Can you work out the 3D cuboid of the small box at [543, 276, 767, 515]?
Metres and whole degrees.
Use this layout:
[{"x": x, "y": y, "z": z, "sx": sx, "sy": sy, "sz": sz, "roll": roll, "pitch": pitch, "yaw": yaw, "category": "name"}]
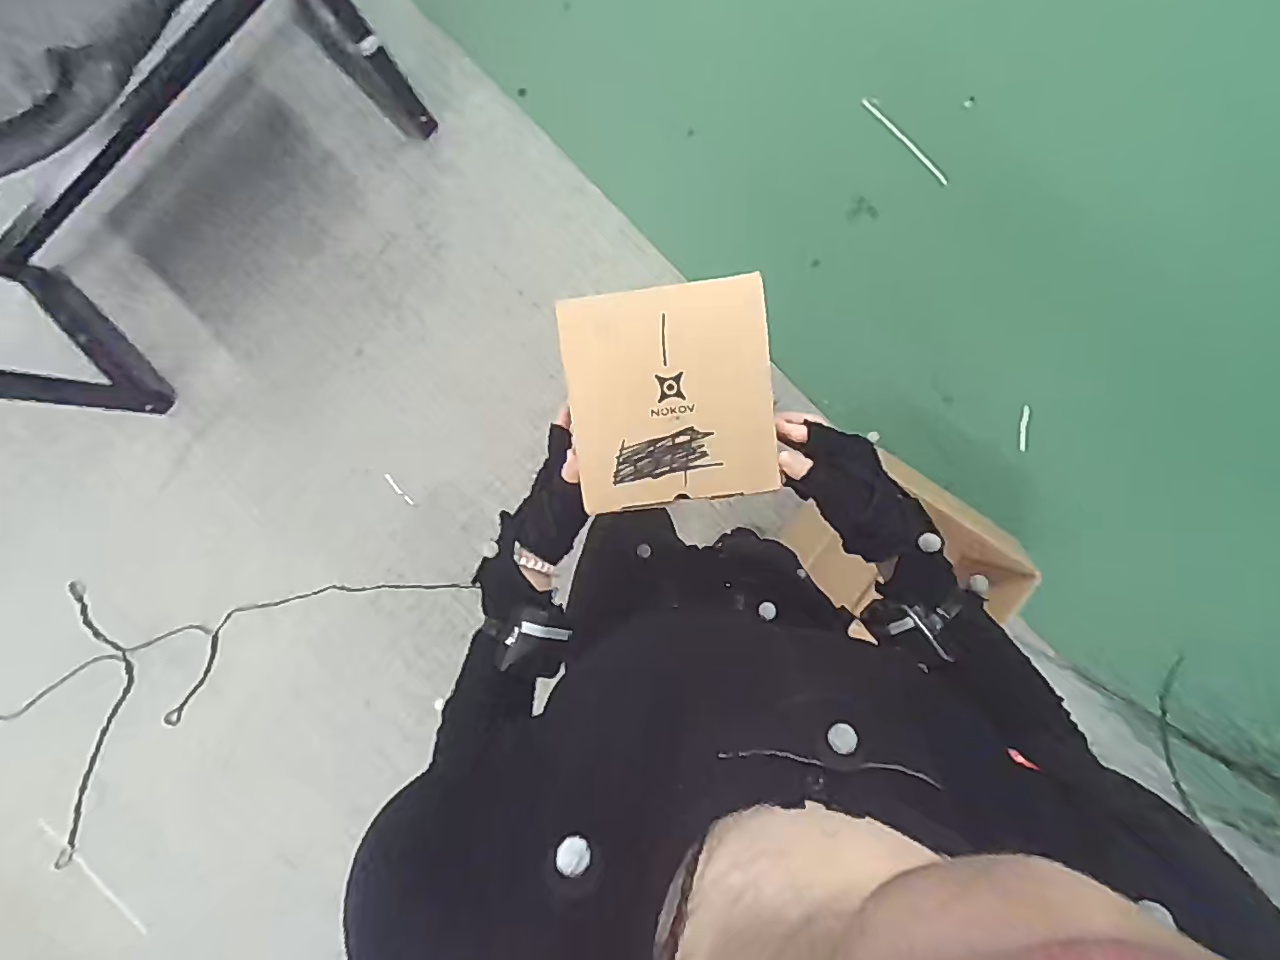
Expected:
[{"x": 0.017, "y": -0.077, "z": 0.513, "sx": 0.168, "sy": 0.176, "sz": 0.179, "roll": -8, "pitch": 98, "yaw": 3, "category": "small box"}]
